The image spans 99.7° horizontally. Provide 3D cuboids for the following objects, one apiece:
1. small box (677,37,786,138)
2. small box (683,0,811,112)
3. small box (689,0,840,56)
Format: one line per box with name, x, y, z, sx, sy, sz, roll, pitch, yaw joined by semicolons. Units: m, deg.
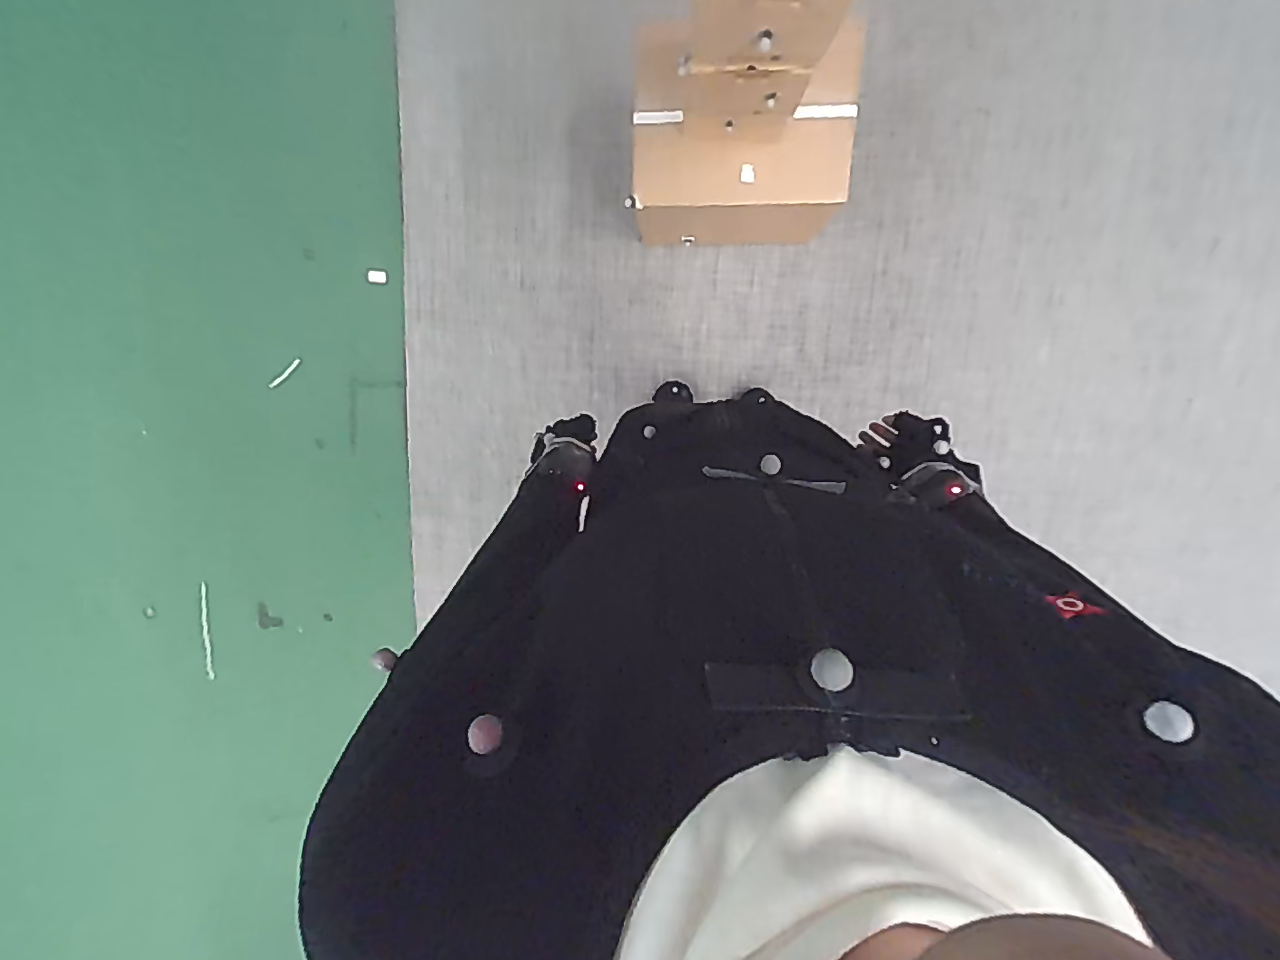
small box;0.160;-0.694;0.901;0.179;0.176;0.168;8;105;3
small box;0.146;-0.638;0.752;0.168;0.176;0.179;1;105;3
small box;0.141;-0.599;0.593;0.168;0.176;0.179;2;107;3
